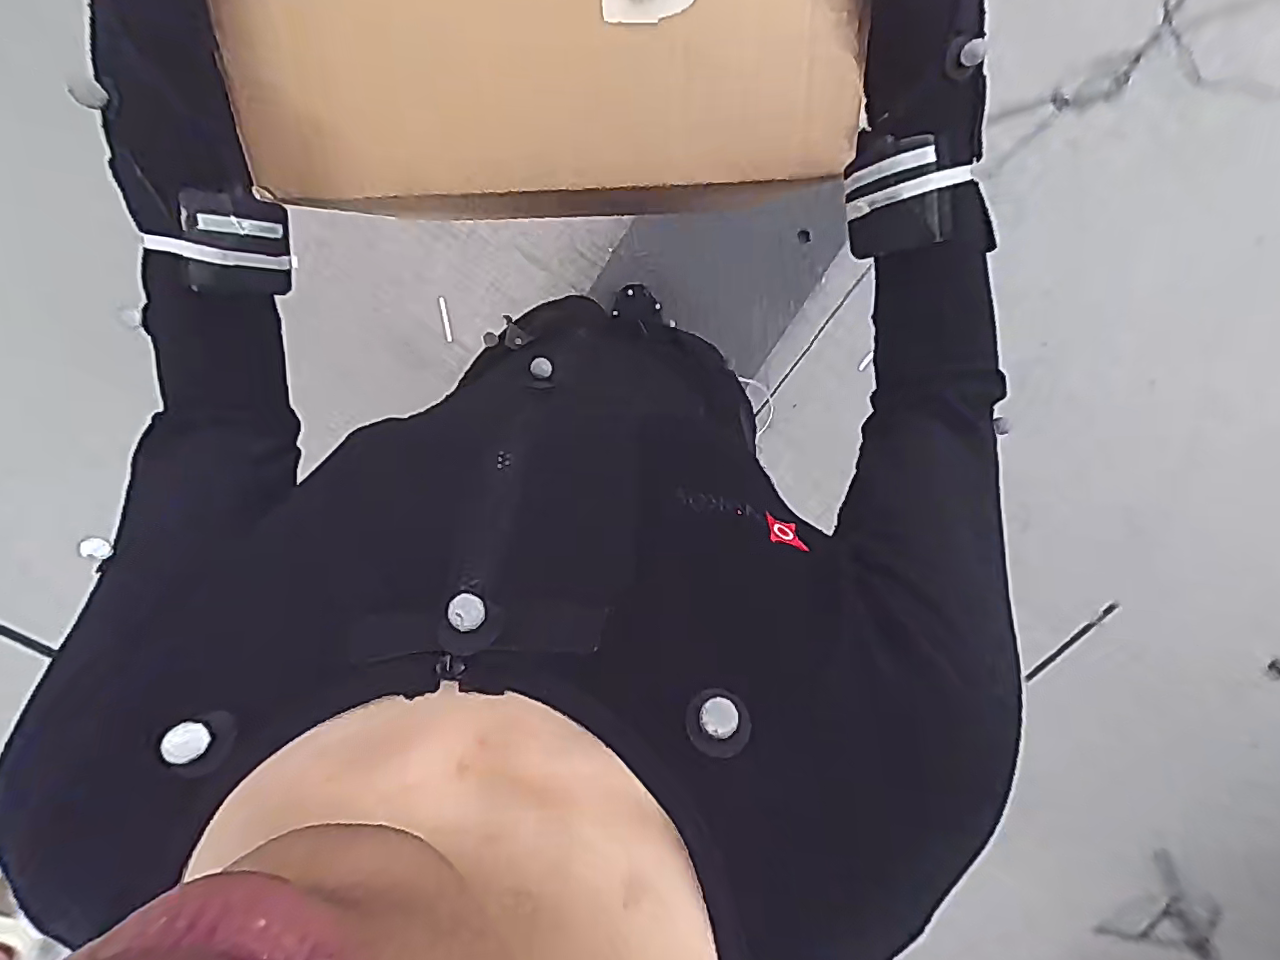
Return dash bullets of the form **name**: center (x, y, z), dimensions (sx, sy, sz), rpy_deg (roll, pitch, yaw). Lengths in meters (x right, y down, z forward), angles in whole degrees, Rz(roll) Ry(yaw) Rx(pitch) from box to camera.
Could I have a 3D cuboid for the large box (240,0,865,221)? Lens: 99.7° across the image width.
- **large box**: center (-0.058, -0.408, 0.461), dimensions (0.408, 0.320, 0.320), rpy_deg (-1, 113, 0)
